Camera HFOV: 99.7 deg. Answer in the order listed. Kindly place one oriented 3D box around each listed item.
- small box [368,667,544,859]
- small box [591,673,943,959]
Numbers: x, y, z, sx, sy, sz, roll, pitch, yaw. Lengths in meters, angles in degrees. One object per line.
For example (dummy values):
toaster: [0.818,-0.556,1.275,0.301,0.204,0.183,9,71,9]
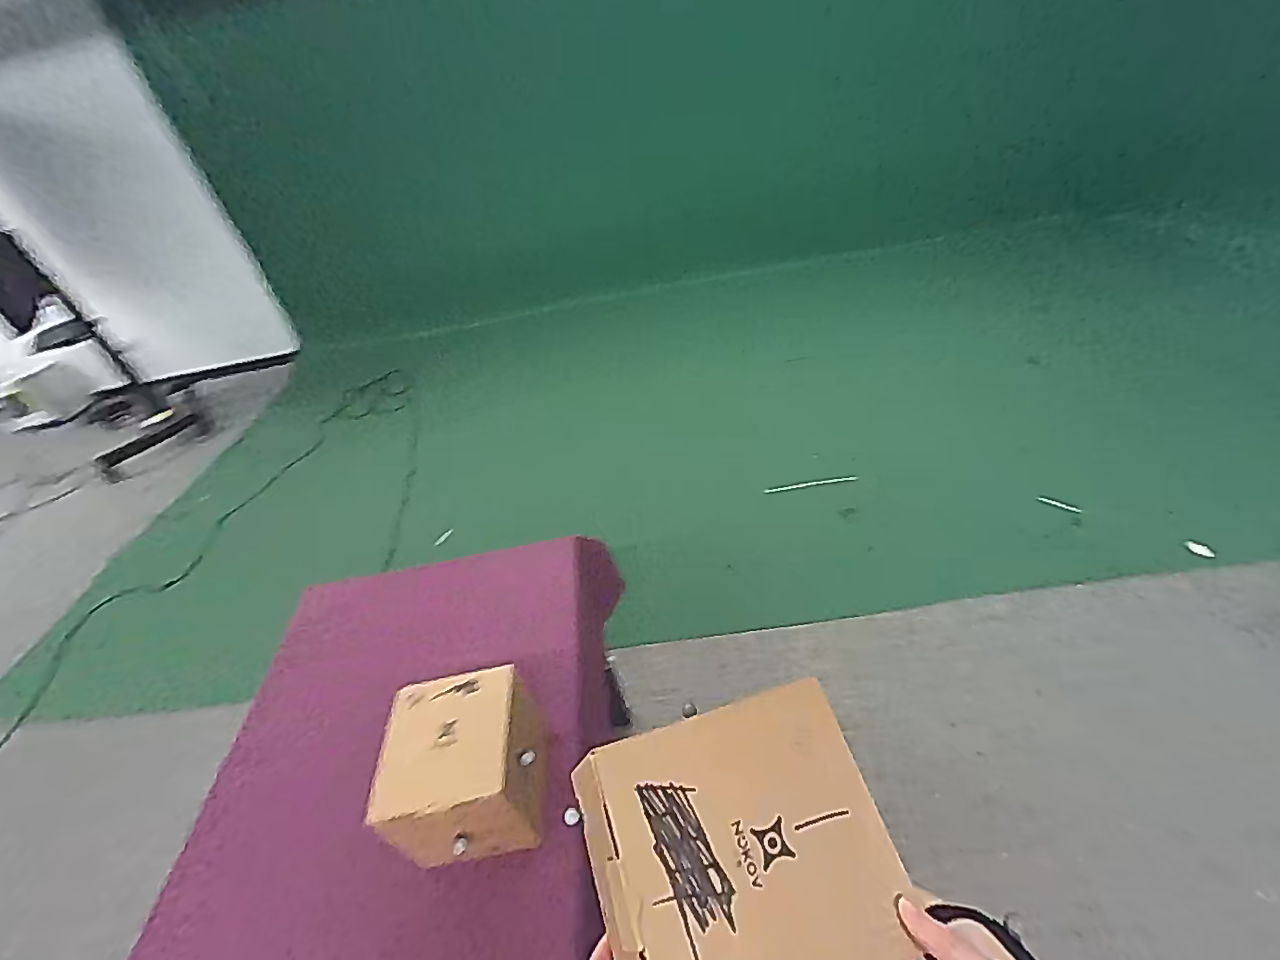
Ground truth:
small box: [-0.234,0.393,0.743,0.168,0.176,0.179,-13,39,1]
small box: [0.065,0.265,0.402,0.179,0.176,0.168,-10,61,-18]
